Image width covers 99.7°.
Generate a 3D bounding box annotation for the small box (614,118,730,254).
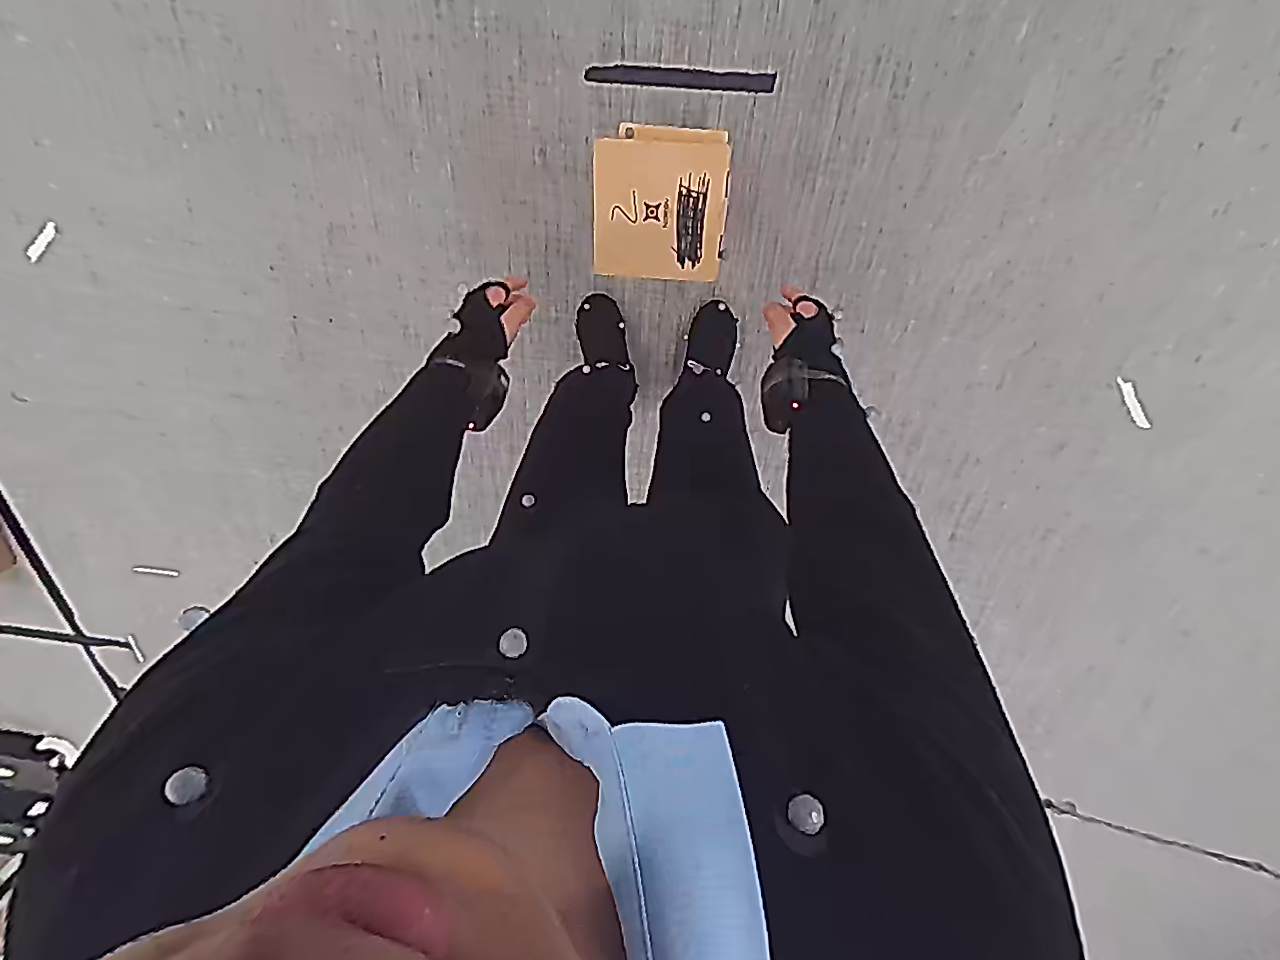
[{"bbox_3d":[0.050,-0.489,0.905,0.168,0.176,0.179,6,120,2],"label":"small box"}]
